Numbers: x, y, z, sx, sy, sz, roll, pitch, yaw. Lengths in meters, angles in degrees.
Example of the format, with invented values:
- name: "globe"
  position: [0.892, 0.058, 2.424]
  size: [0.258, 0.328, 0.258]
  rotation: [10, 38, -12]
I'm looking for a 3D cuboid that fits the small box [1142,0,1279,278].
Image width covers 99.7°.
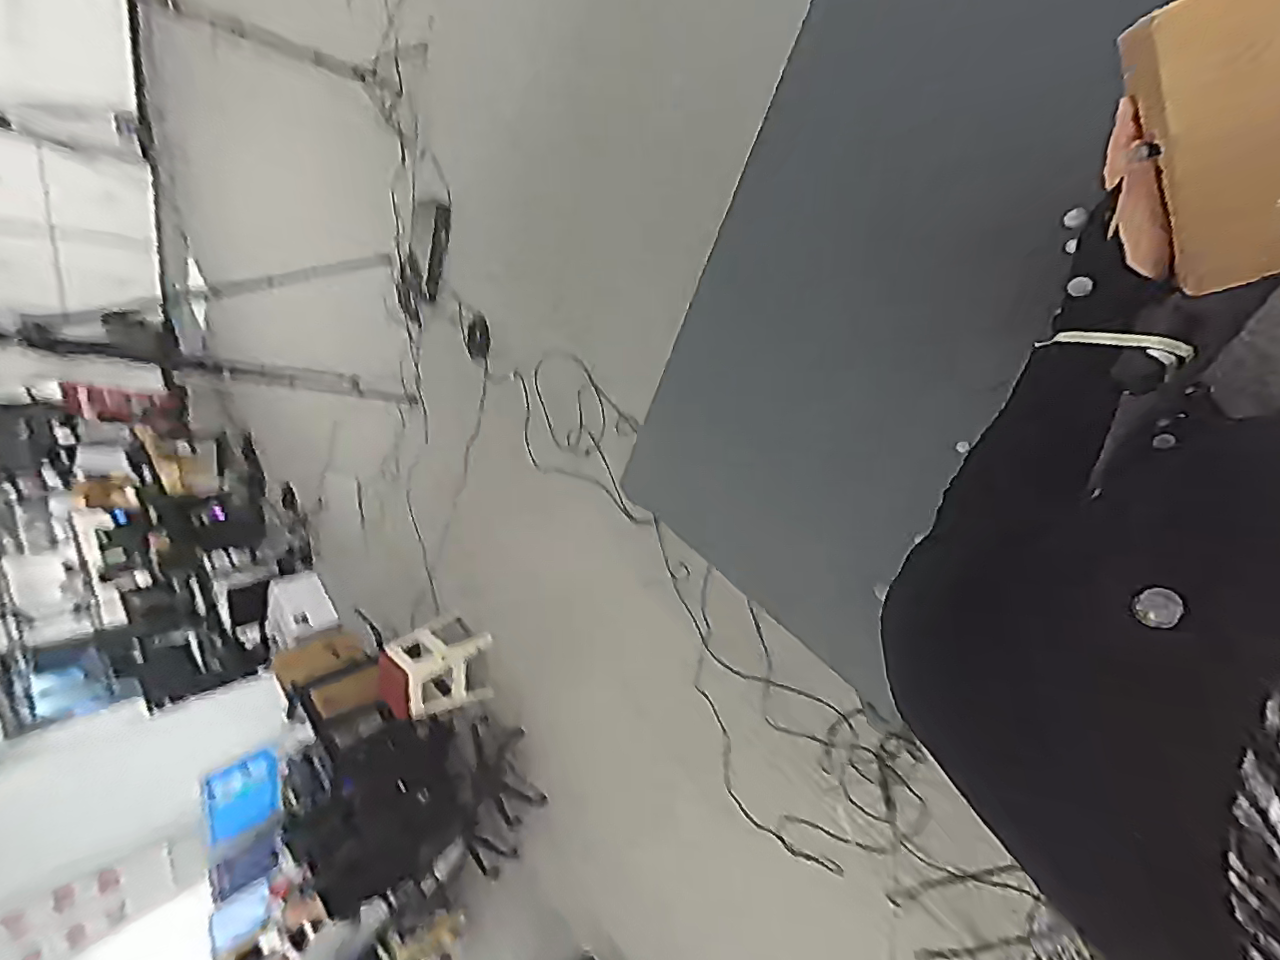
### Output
- name: "small box"
  position: [0.437, -0.254, 0.331]
  size: [0.168, 0.176, 0.179]
  rotation: [-11, 114, 41]
